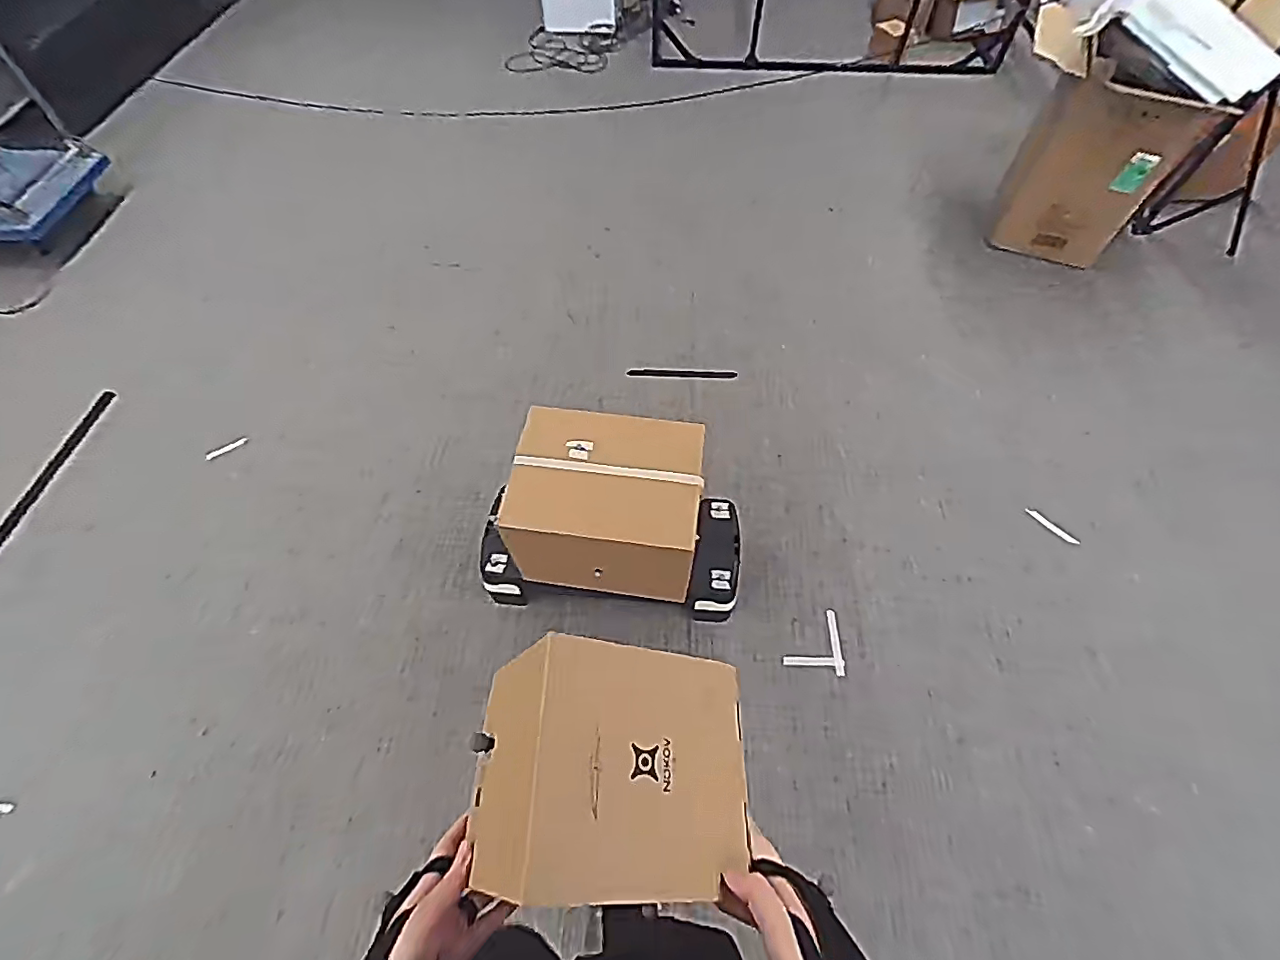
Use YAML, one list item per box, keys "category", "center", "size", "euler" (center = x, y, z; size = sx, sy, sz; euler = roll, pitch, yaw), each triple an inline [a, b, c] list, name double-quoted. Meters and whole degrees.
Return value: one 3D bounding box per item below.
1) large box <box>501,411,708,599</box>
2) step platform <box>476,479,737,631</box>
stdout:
- category: "large box"
  center: [-0.058, 0.067, 1.262]
  size: [0.408, 0.320, 0.320]
  euler: [6, 58, 6]
- category: "step platform"
  center: [-0.082, 0.194, 1.464]
  size: [0.684, 0.204, 0.286]
  euler: [8, 59, 7]
